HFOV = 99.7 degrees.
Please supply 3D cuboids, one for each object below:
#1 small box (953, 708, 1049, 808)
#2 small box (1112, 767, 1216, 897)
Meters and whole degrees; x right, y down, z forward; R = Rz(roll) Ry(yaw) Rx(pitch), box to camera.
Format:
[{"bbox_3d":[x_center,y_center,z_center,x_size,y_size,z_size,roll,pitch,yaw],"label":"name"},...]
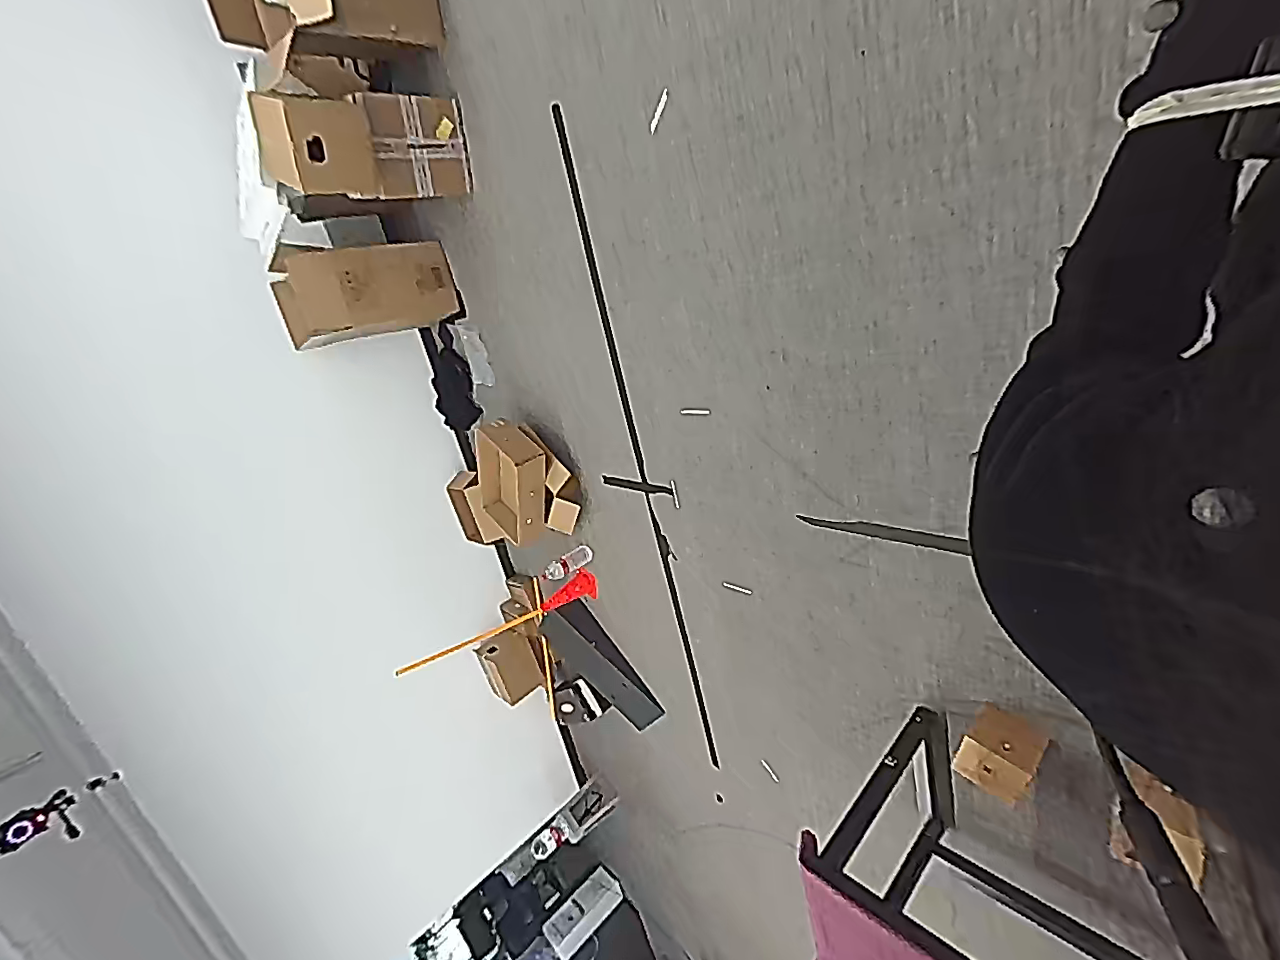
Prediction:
[{"bbox_3d":[1.082,0.821,1.622,0.179,0.176,0.168,27,131,38],"label":"small box"},{"bbox_3d":[1.317,0.873,1.358,0.168,0.176,0.179,8,117,49],"label":"small box"}]
